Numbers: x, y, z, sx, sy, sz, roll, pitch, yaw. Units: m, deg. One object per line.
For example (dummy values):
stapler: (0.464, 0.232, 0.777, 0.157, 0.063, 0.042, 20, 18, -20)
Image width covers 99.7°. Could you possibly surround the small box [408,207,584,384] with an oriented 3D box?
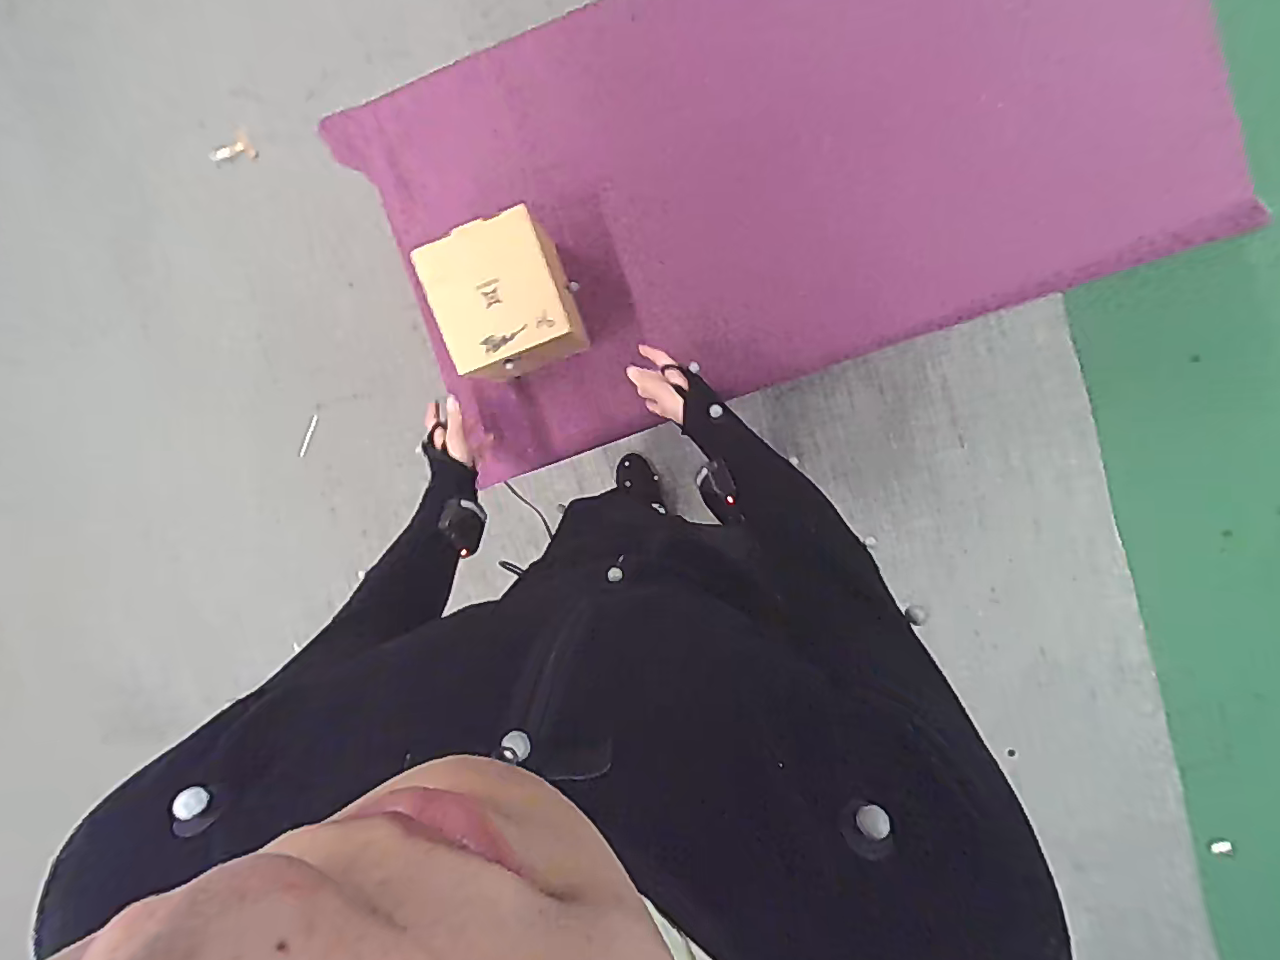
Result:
small box: (-0.194, -0.251, 0.783, 0.168, 0.176, 0.179, -20, 94, 6)
